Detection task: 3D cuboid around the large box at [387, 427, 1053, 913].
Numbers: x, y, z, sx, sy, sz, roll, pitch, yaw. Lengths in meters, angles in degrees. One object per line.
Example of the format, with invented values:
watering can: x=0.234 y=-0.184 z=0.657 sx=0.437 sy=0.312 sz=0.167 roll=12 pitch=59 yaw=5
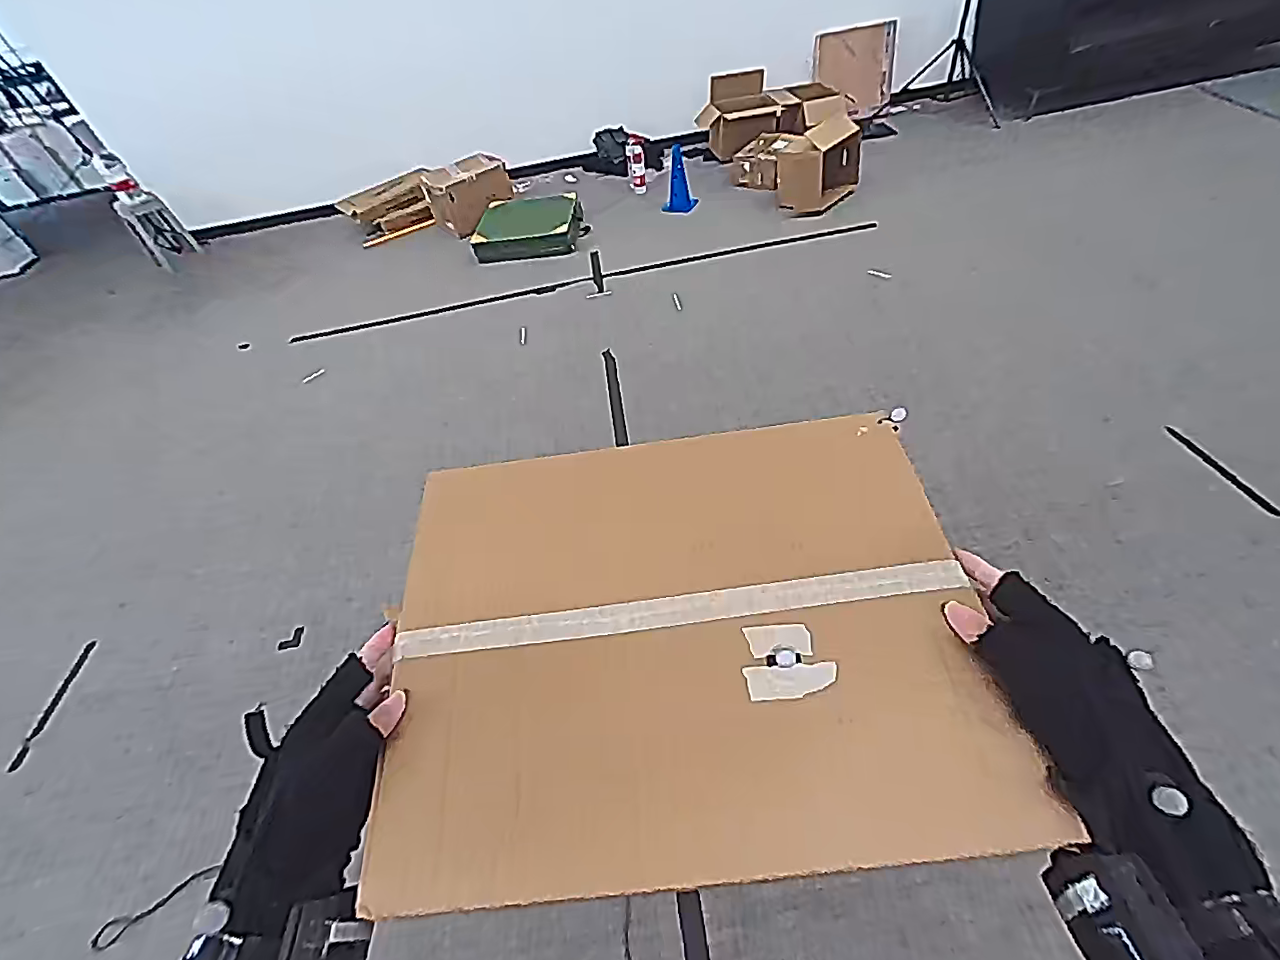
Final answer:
large box: x=0.043 y=0.188 z=0.521 sx=0.408 sy=0.320 sz=0.320 roll=-7 pitch=55 yaw=1
